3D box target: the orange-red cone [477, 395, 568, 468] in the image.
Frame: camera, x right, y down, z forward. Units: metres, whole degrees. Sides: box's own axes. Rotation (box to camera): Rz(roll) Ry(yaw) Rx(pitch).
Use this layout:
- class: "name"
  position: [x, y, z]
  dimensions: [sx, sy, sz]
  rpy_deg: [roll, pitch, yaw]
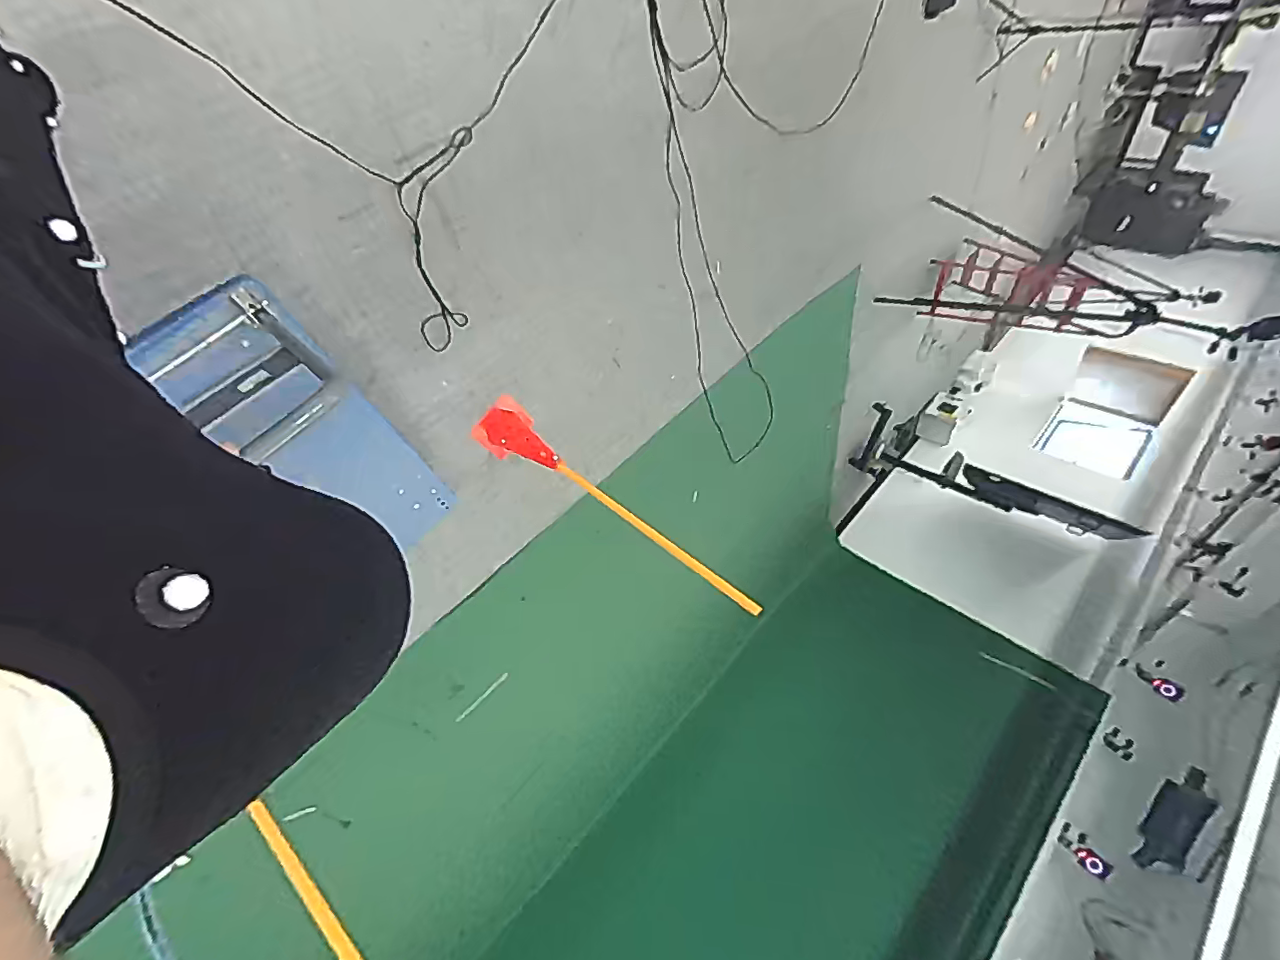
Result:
- class: "orange-red cone"
  position: [-0.384, -0.132, 1.947]
  dimensions: [0.199, 0.360, 0.198]
  rpy_deg: [-52, 146, -11]
